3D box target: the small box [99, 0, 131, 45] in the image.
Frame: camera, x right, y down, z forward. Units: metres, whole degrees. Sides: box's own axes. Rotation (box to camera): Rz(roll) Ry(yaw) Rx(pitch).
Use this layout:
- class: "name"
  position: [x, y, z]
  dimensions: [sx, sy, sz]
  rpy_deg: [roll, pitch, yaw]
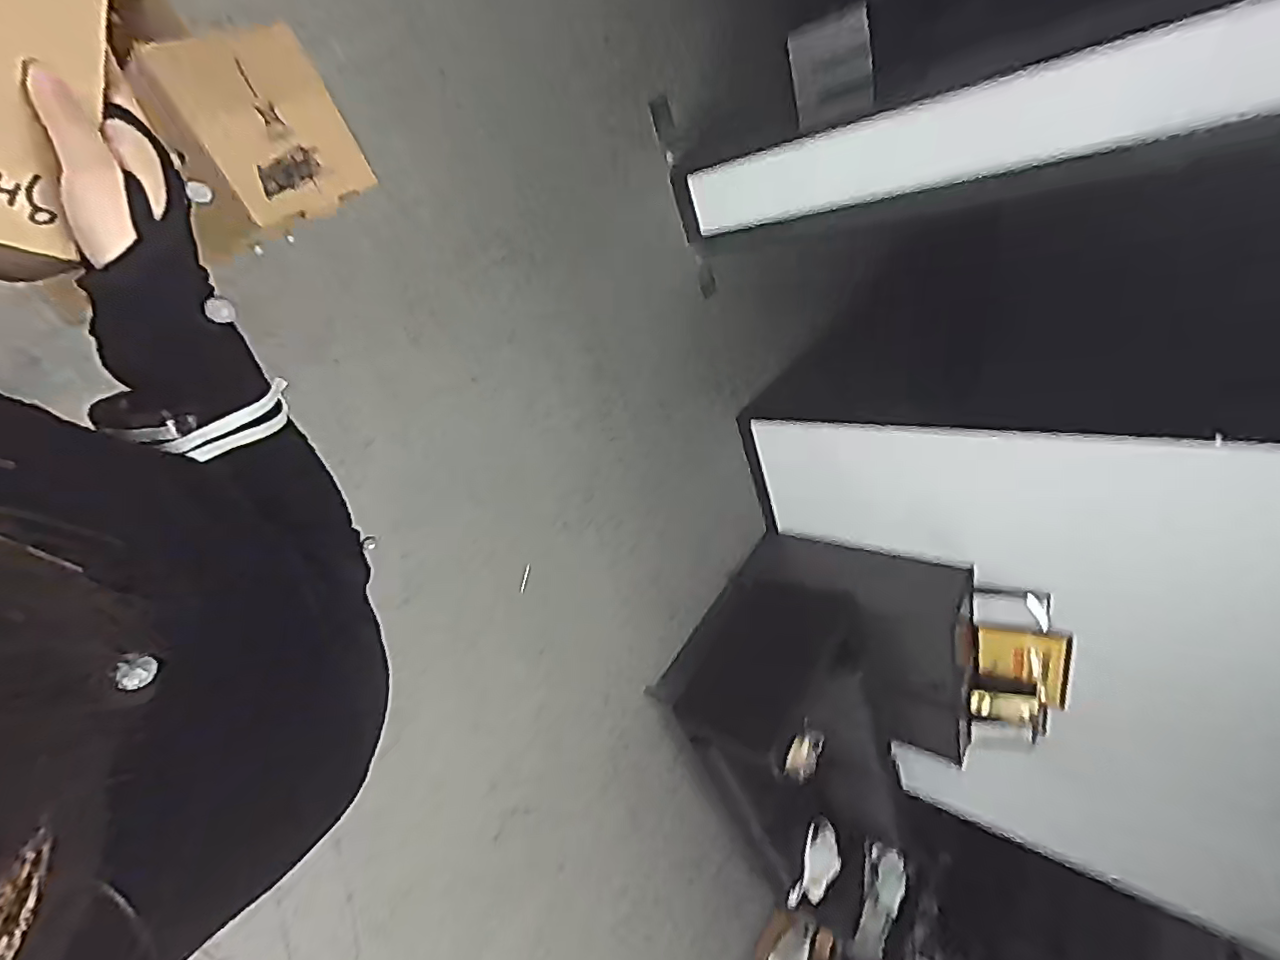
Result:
- class: "small box"
  position: [-0.716, -0.606, 0.600]
  dimensions: [0.179, 0.176, 0.168]
  rpy_deg: [-46, 130, -35]

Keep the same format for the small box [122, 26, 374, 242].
- class: "small box"
  position: [-0.477, -0.411, 0.666]
  dimensions: [0.168, 0.176, 0.179]
  rpy_deg: [-47, 127, -35]

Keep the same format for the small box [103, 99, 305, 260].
- class: "small box"
  position: [-0.602, -0.431, 0.771]
  dimensions: [0.168, 0.176, 0.179]
  rpy_deg: [-48, 128, -34]

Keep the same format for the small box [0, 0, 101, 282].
- class: "small box"
  position: [-0.408, -0.212, 0.268]
  dimensions: [0.168, 0.176, 0.179]
  rpy_deg: [-1, 99, -58]
